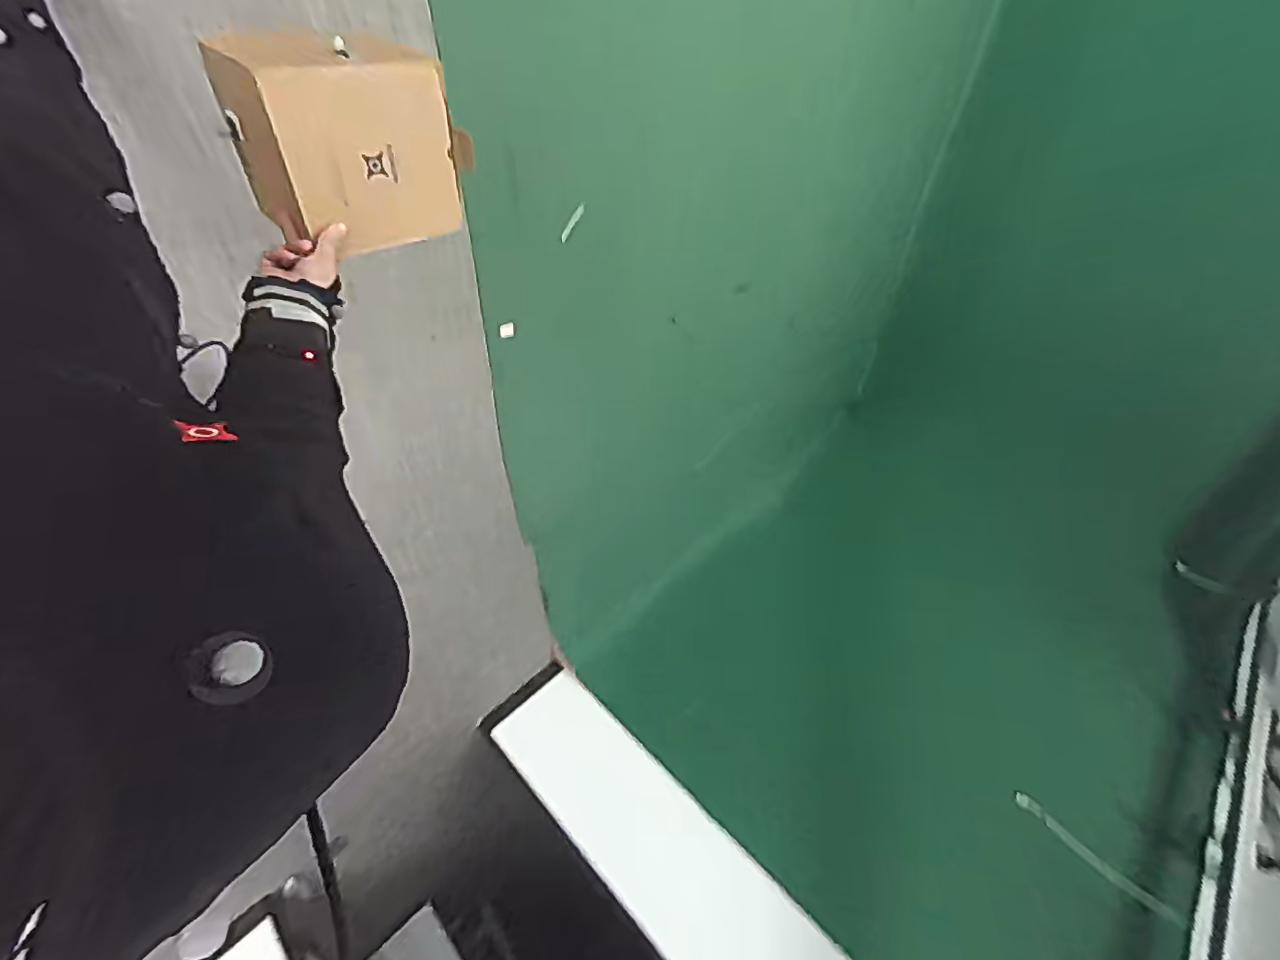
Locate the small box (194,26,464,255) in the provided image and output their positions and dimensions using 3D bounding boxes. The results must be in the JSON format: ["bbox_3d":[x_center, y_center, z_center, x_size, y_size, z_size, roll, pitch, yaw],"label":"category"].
[{"bbox_3d":[-0.321,-0.371,0.581,0.179,0.176,0.168,-33,147,-32],"label":"small box"}]
